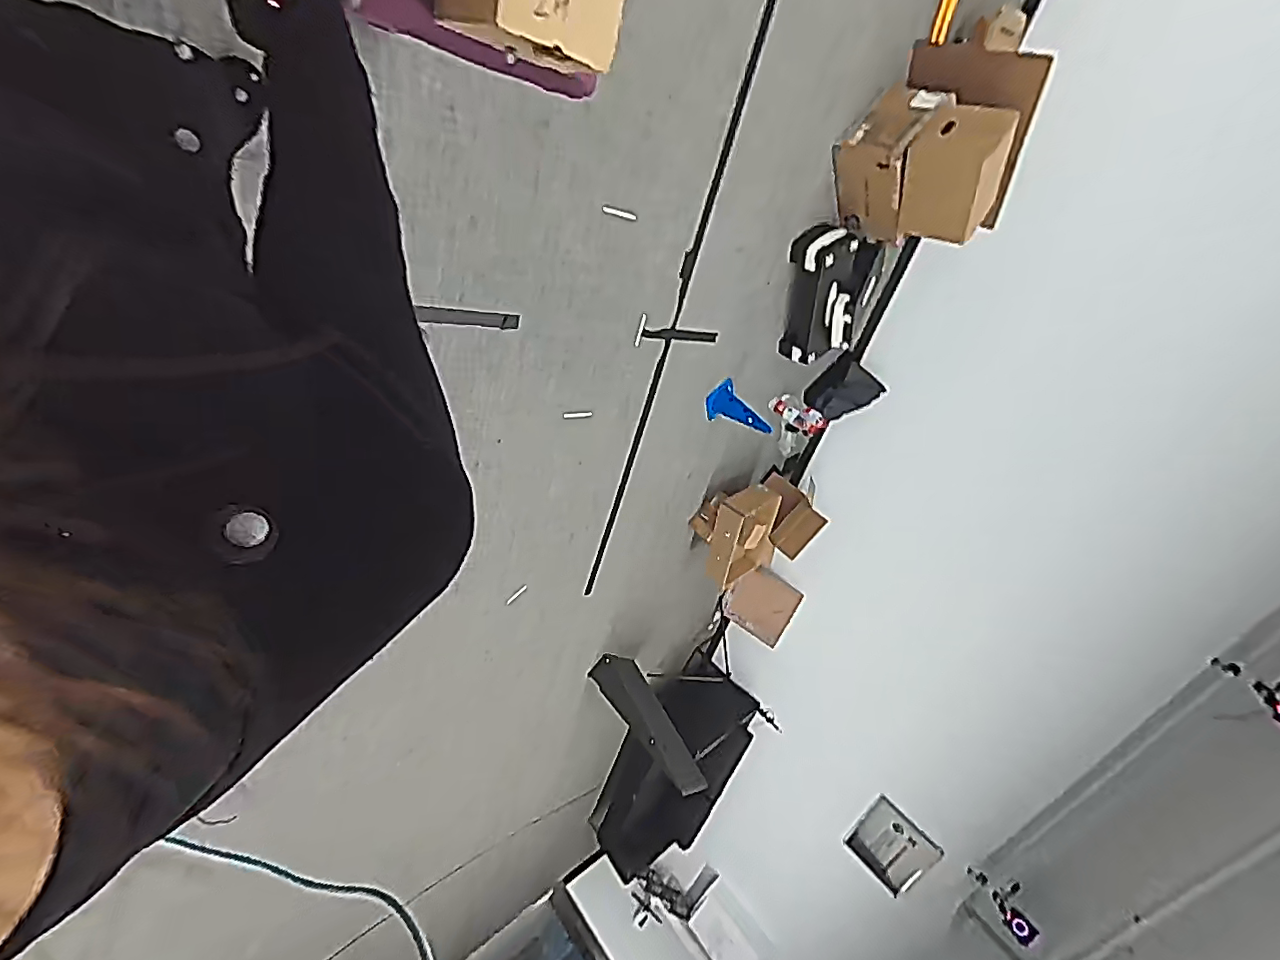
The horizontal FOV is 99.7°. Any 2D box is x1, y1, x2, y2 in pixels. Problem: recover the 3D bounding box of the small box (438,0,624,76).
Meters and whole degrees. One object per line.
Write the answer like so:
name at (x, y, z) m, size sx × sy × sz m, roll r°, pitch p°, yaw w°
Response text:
small box at (-0.129, -0.626, 0.654) m, size 0.168 × 0.176 × 0.179 m, roll -13°, pitch 131°, yaw -42°
